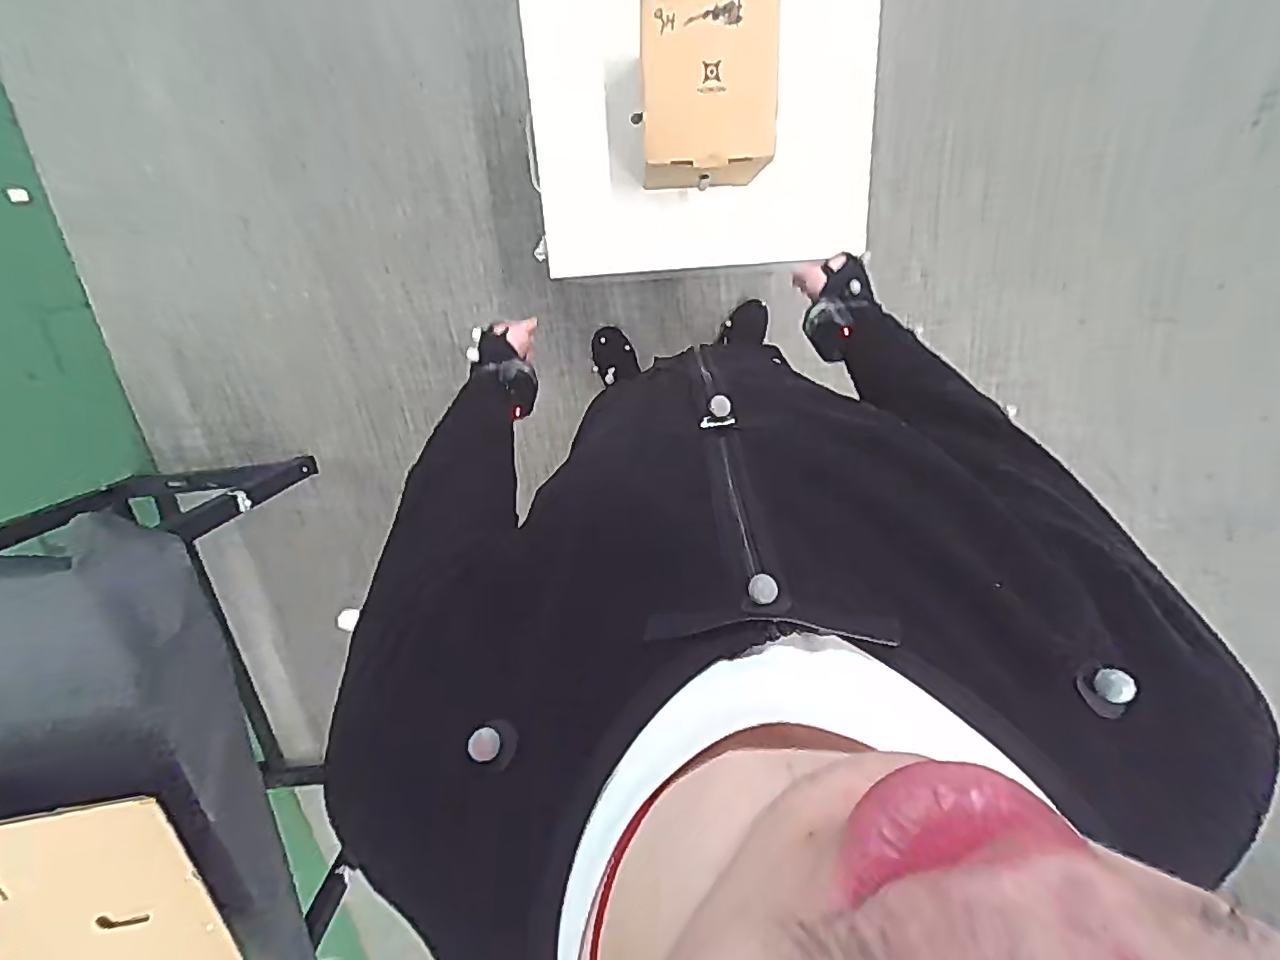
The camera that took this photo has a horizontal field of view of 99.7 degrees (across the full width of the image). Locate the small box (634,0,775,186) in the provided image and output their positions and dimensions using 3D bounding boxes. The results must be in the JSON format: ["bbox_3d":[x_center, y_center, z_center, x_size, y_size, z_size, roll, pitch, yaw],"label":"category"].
[{"bbox_3d":[0.079,-0.510,0.737,0.168,0.176,0.179,-4,109,-1],"label":"small box"}]
